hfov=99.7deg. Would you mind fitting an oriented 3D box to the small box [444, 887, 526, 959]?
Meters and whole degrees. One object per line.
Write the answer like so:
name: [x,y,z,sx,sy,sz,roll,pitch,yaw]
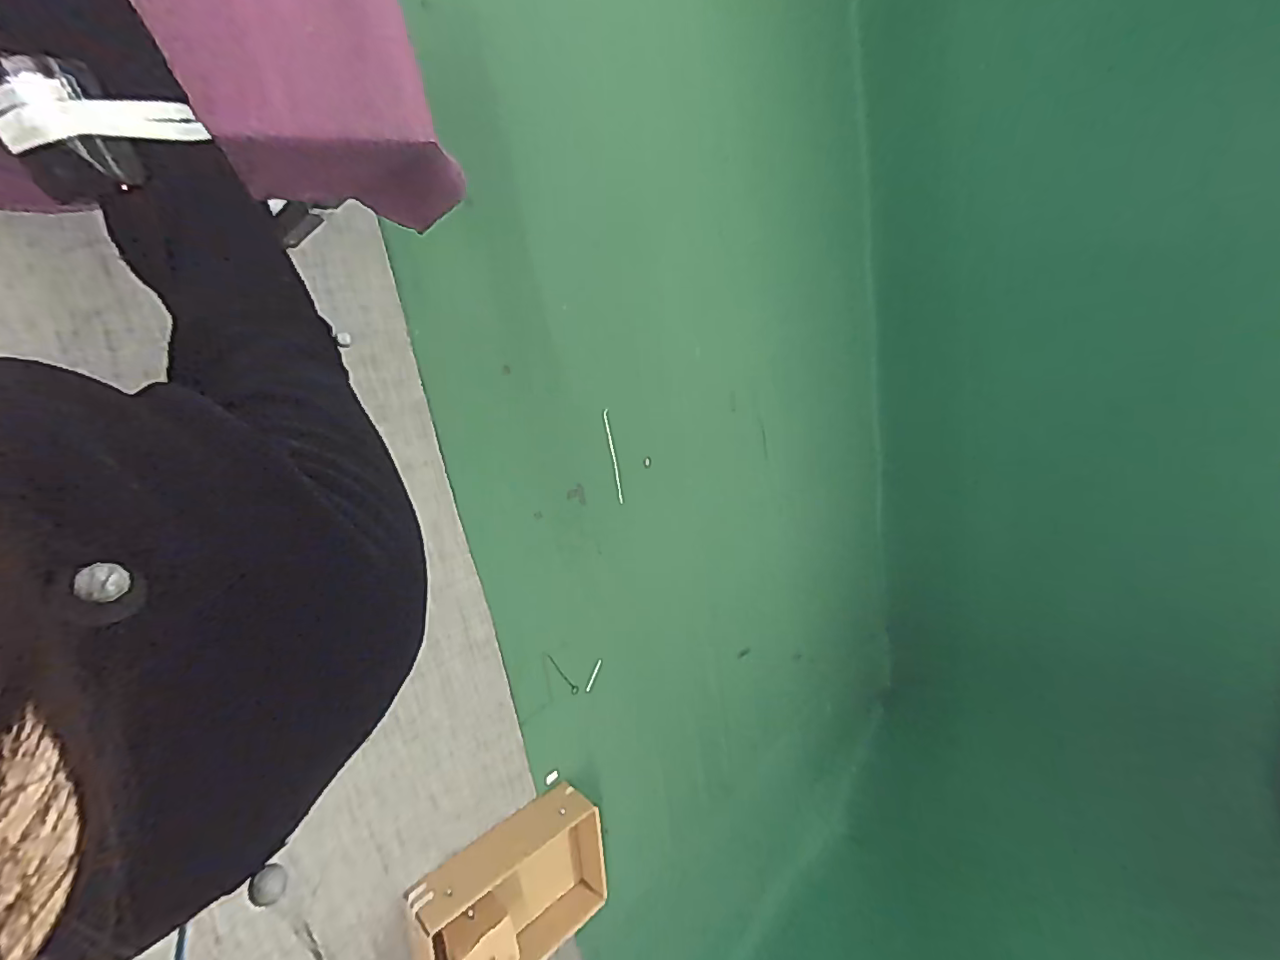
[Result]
small box: [-0.474,1.392,1.645,0.168,0.176,0.179,-19,106,-42]
